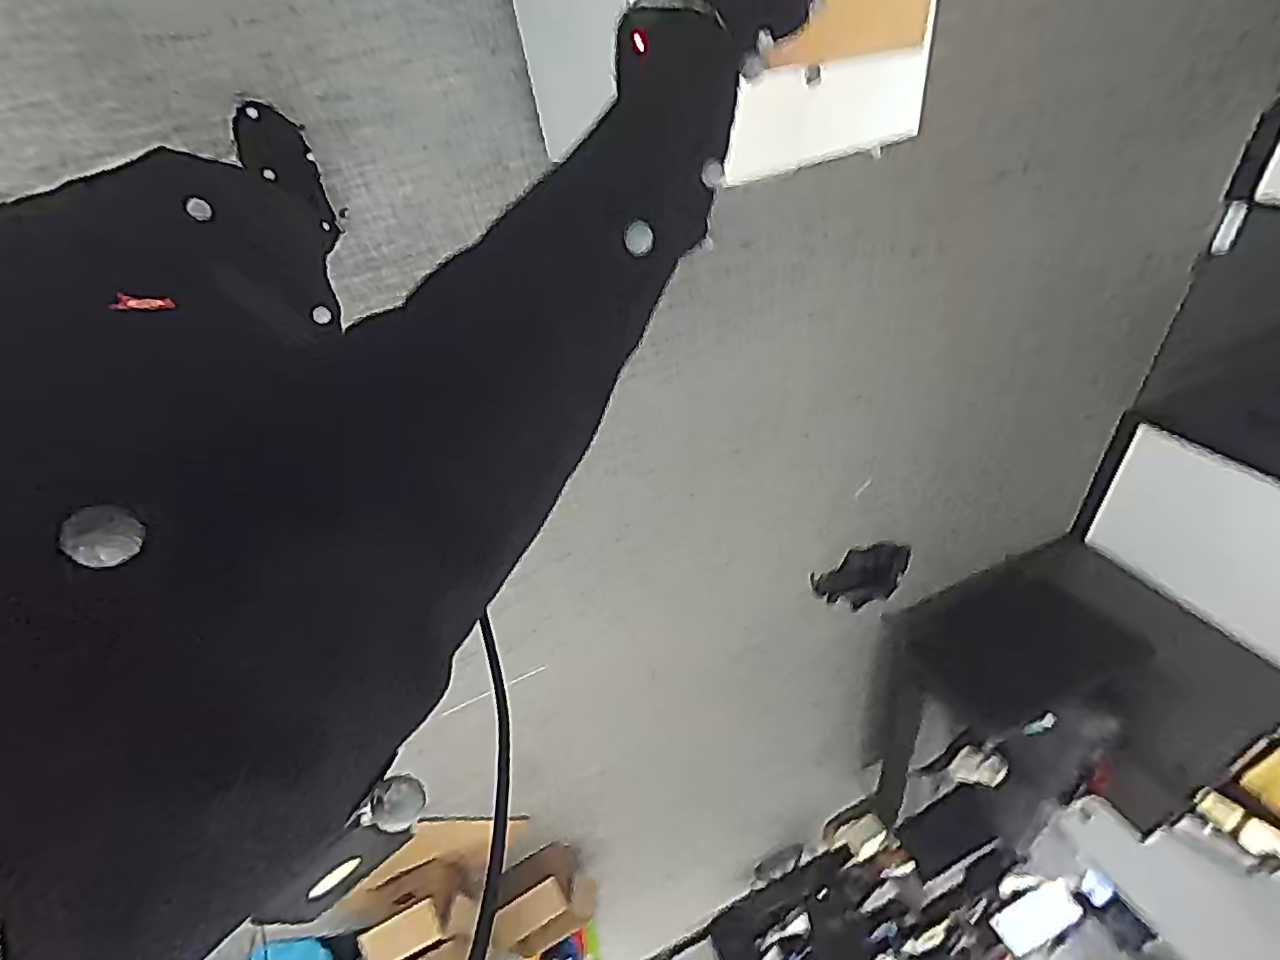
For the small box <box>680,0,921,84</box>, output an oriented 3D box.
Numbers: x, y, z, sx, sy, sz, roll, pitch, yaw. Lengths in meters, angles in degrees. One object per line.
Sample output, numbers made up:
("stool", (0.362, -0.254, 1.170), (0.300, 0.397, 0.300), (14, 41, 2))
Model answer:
("small box", (0.152, -0.496, 0.525), (0.179, 0.176, 0.168), (-17, 130, -14))
